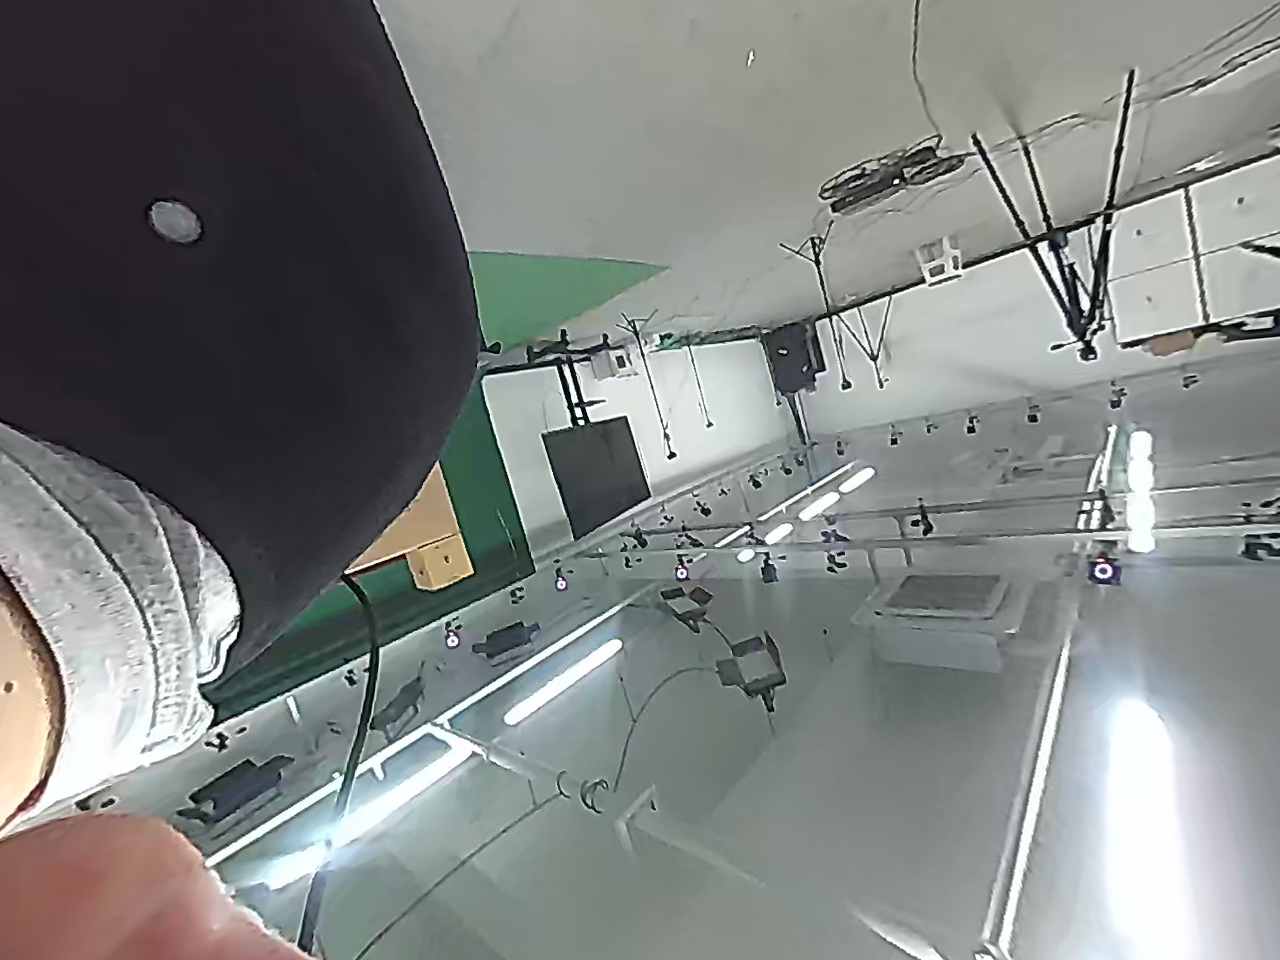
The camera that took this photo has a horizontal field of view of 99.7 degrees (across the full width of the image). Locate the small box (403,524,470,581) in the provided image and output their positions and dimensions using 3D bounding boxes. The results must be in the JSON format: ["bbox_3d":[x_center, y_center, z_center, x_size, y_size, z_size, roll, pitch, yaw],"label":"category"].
[{"bbox_3d":[-0.785,0.274,2.076,0.168,0.176,0.179,-22,-171,-41],"label":"small box"}]
